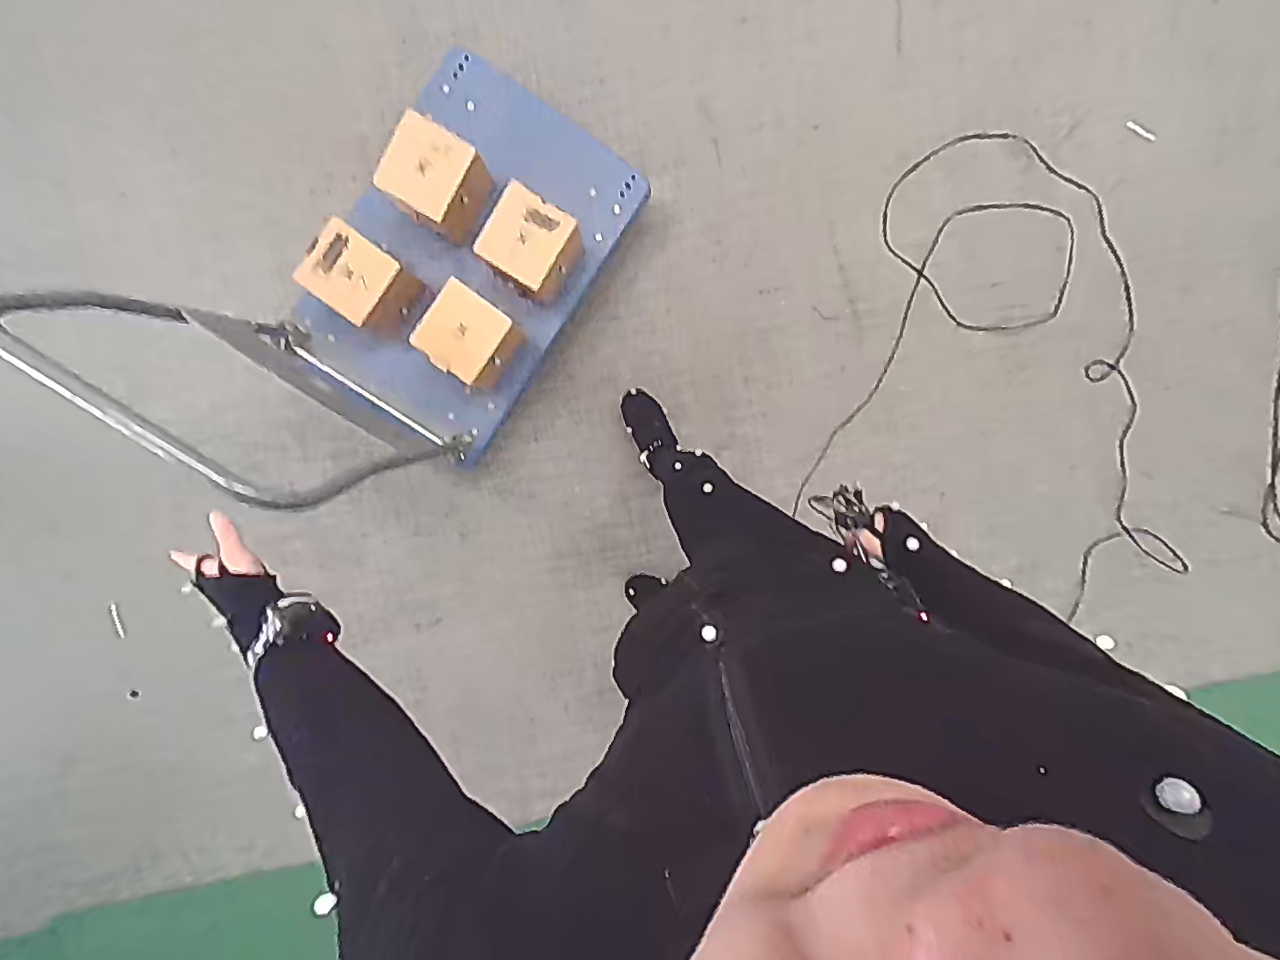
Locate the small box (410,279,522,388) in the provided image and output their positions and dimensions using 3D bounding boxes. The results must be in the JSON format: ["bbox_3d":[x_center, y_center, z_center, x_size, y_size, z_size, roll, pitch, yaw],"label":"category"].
[{"bbox_3d":[-0.395,-0.334,1.267,0.168,0.176,0.179,36,95,-5],"label":"small box"}]

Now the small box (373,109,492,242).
[{"bbox_3d":[-0.458,-0.675,1.226,0.168,0.176,0.179,30,95,-4],"label":"small box"}]

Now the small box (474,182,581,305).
[{"bbox_3d":[-0.248,-0.533,1.245,0.168,0.176,0.179,33,95,-3],"label":"small box"}]
